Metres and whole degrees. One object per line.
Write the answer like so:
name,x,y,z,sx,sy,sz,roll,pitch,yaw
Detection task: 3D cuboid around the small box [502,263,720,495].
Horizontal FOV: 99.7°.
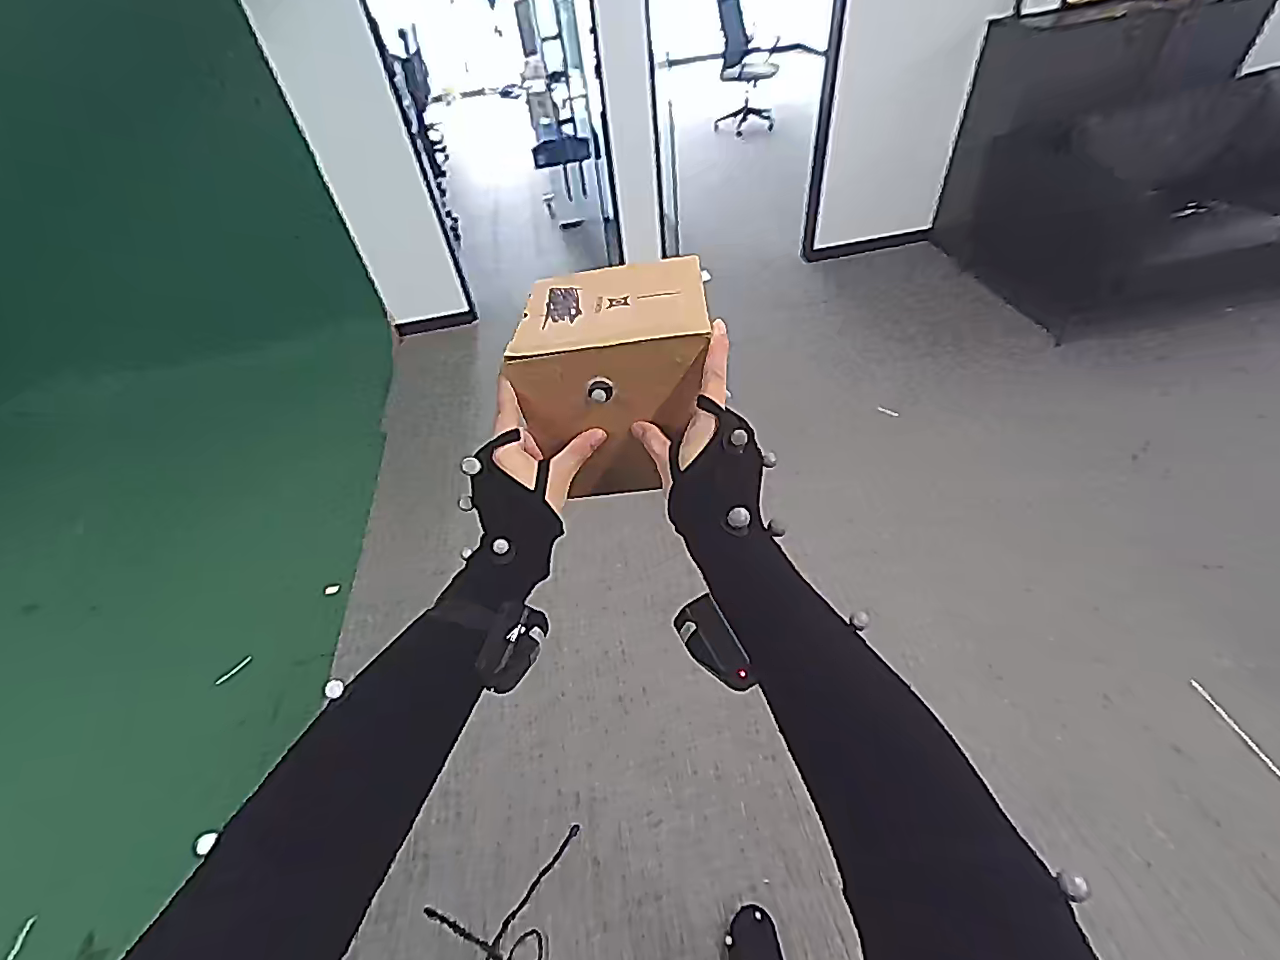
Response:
small box,-0.017,-0.099,0.555,0.179,0.176,0.168,-6,41,6
